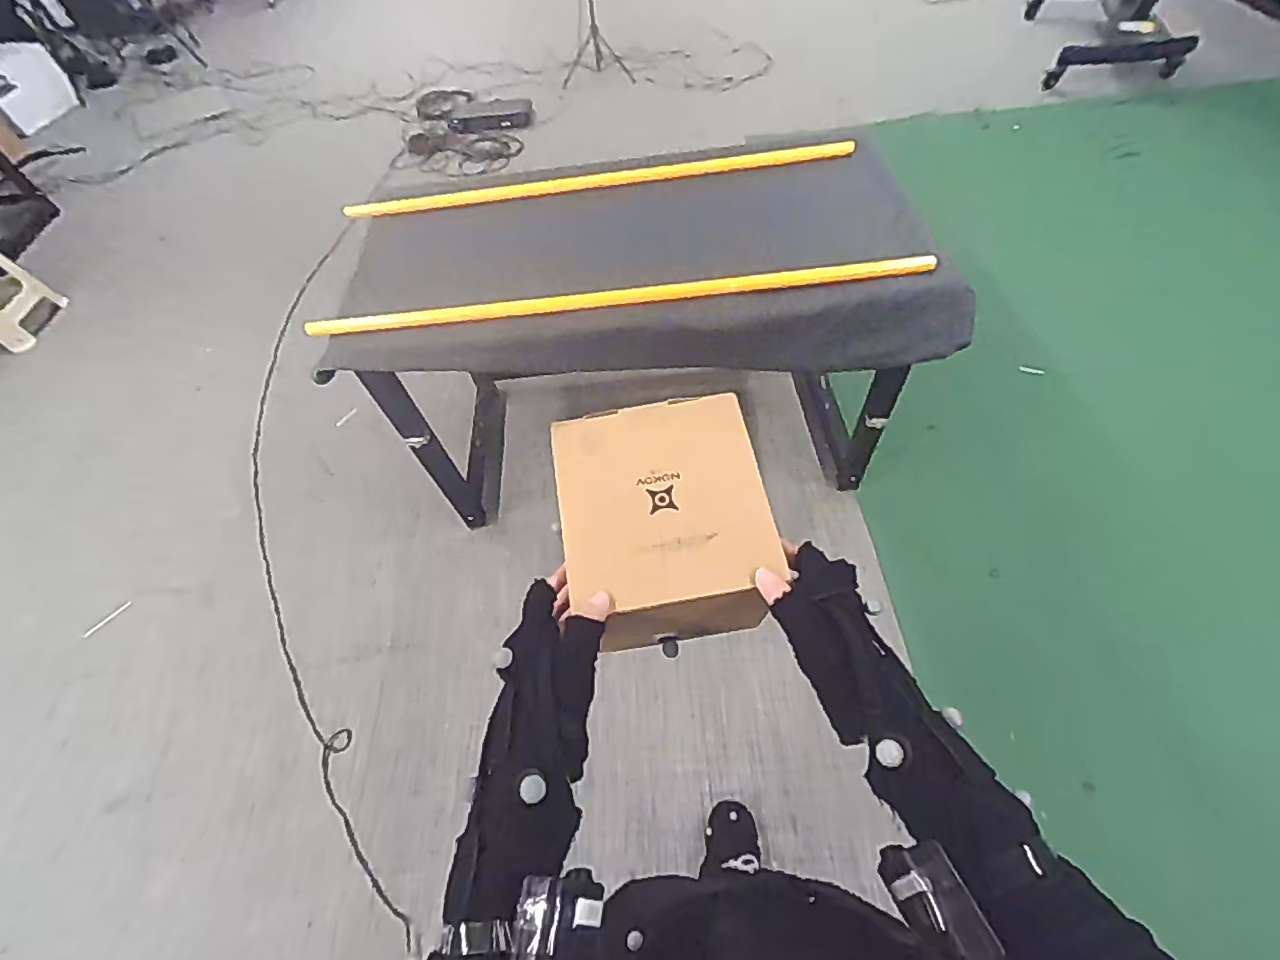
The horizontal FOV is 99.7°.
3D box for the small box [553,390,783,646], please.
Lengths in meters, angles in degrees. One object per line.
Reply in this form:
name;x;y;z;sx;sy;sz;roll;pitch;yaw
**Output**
small box;0.018;0.043;0.511;0.168;0.176;0.179;-10;64;-2
